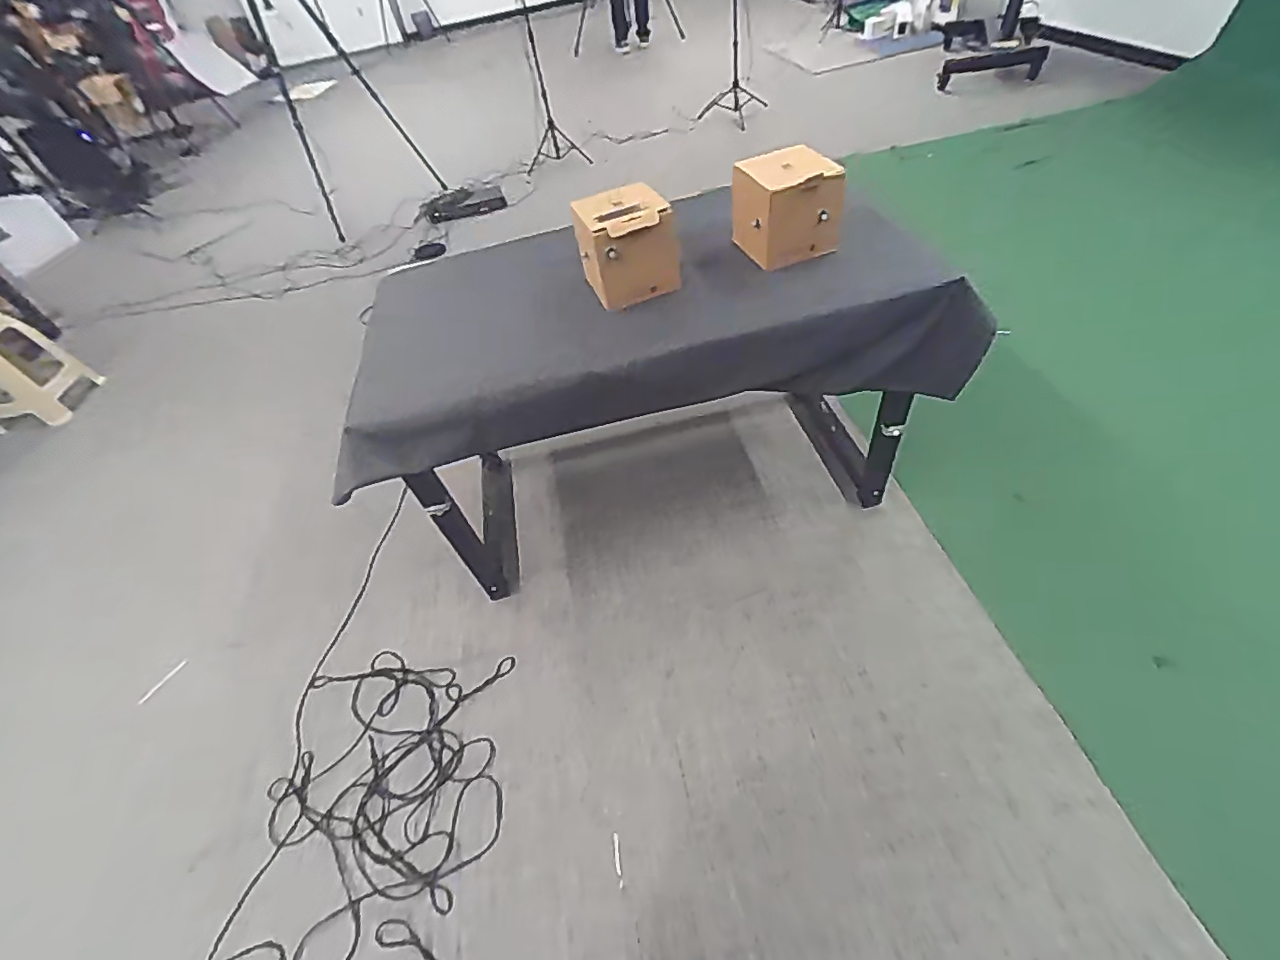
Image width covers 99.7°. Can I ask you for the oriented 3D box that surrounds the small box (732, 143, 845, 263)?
[{"bbox_3d":[0.305,-0.578,1.142,0.168,0.176,0.179,-19,48,-7],"label":"small box"}]
